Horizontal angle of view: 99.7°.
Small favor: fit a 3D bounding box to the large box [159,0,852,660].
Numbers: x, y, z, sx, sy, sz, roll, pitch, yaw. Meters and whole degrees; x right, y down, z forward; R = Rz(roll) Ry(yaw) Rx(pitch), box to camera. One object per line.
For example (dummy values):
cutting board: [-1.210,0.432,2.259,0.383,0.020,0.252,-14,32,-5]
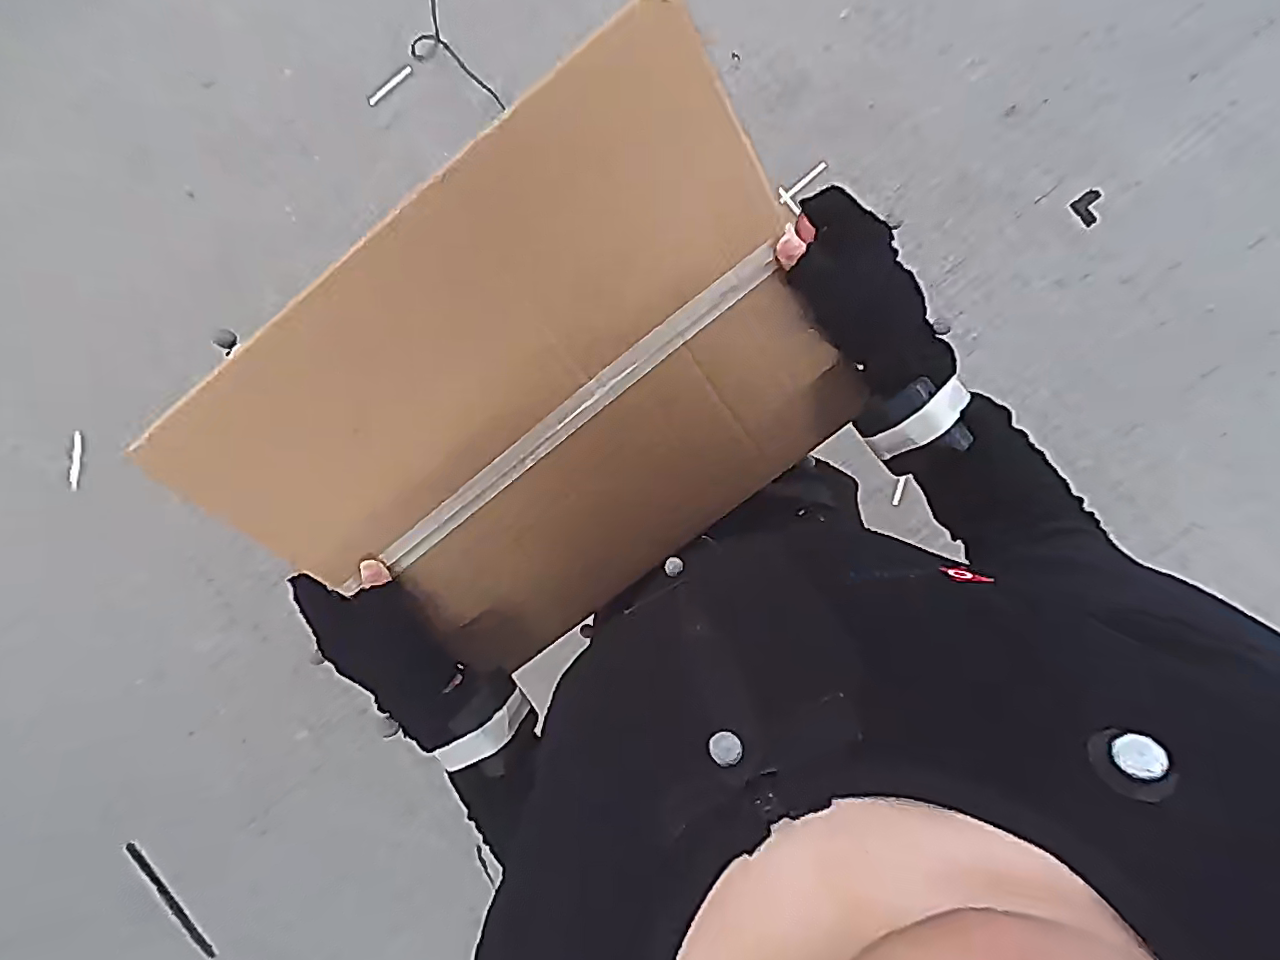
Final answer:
large box: [-0.100,-0.120,0.515,0.408,0.320,0.320,-37,123,6]
